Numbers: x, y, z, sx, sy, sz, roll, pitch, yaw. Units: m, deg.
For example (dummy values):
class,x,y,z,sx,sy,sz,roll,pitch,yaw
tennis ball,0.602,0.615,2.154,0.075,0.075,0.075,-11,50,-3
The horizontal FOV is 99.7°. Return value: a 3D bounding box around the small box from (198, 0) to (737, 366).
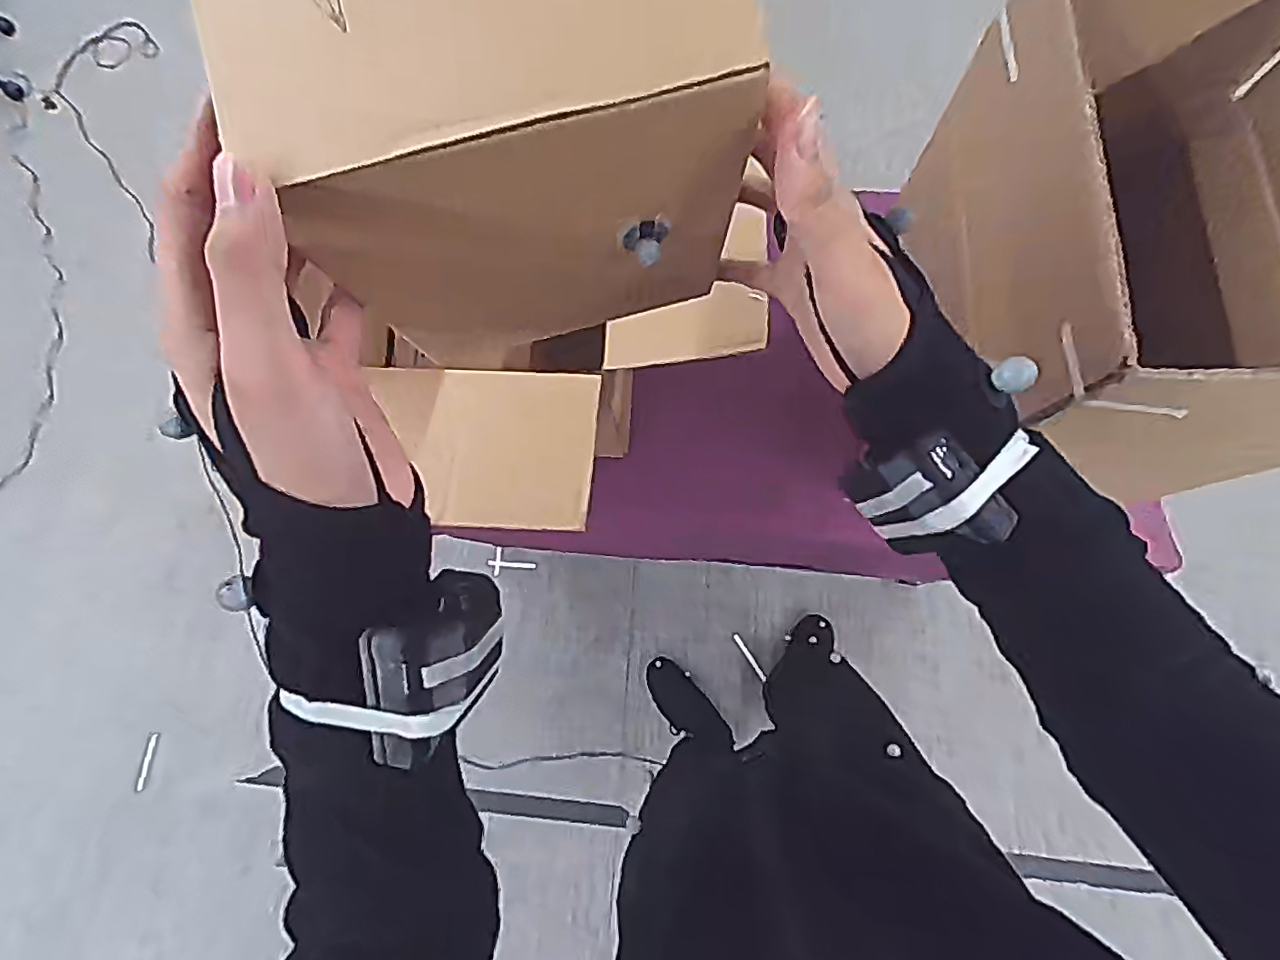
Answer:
class,x,y,z,sx,sy,sz,roll,pitch,yaw
small box,-0.069,-0.175,0.270,0.179,0.176,0.168,-15,83,-1
